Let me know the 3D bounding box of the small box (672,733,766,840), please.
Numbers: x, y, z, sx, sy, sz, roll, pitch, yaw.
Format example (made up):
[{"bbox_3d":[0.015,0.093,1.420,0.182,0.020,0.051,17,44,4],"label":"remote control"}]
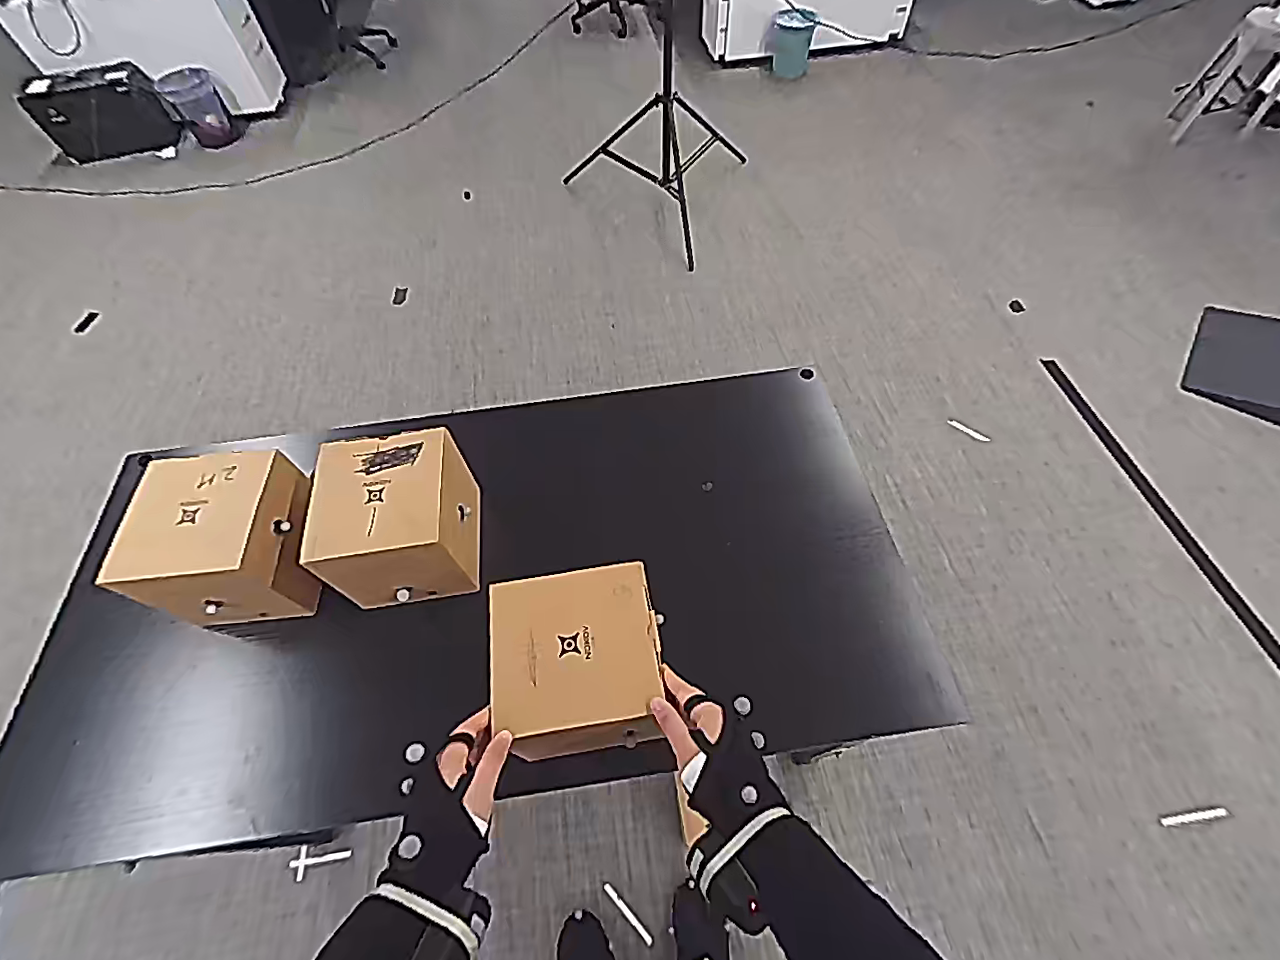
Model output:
[{"bbox_3d":[0.165,0.678,1.192,0.168,0.176,0.179,-10,57,-2],"label":"small box"}]

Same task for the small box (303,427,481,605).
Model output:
[{"bbox_3d":[-0.325,0.053,0.748,0.168,0.176,0.179,-9,59,-3],"label":"small box"}]

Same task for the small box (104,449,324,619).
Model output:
[{"bbox_3d":[-0.548,0.082,0.740,0.168,0.176,0.179,-5,58,-2],"label":"small box"}]

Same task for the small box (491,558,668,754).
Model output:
[{"bbox_3d":[-0.066,0.212,0.637,0.179,0.176,0.168,-10,56,-2],"label":"small box"}]
